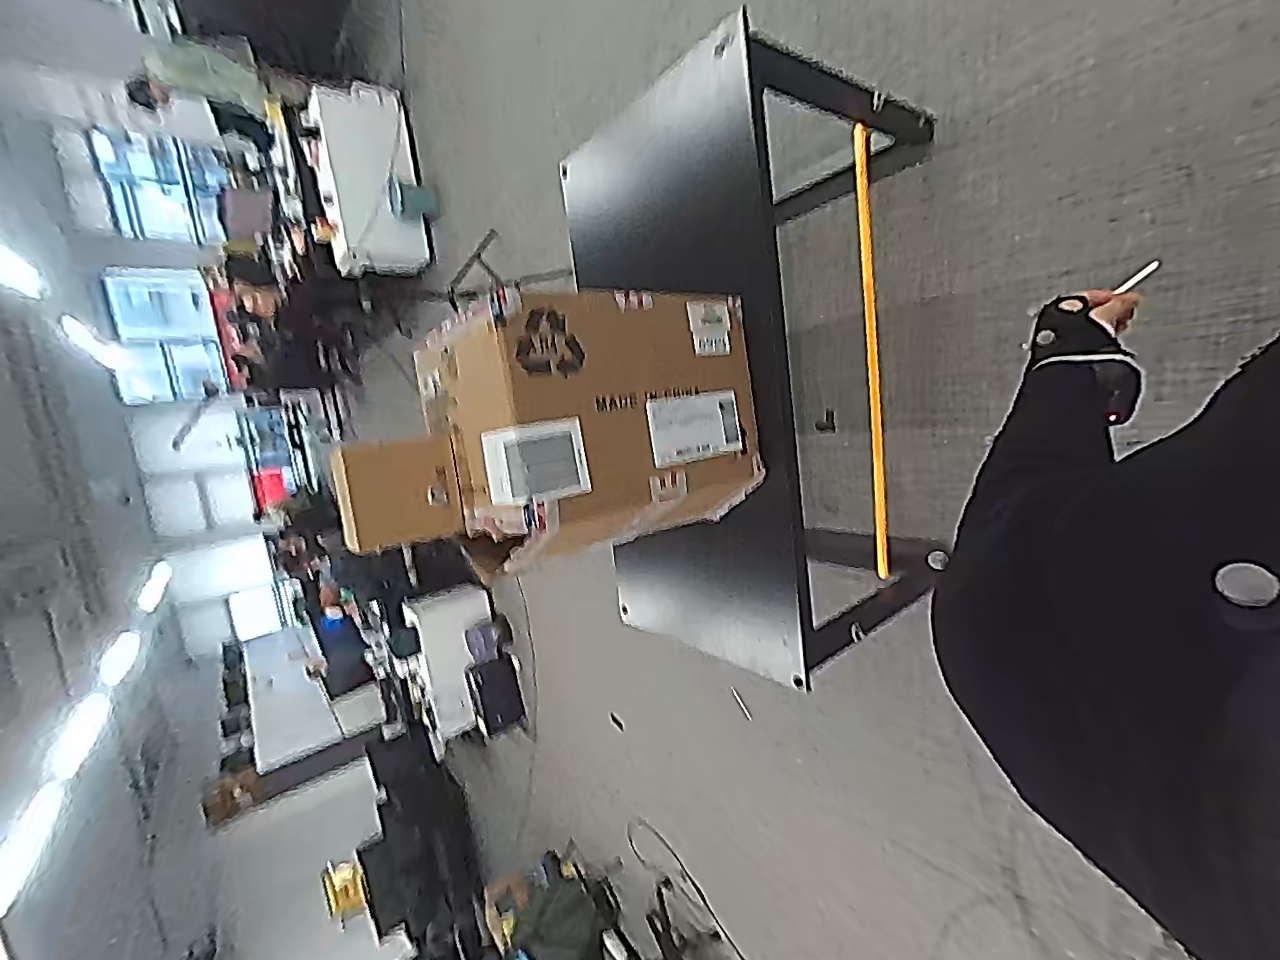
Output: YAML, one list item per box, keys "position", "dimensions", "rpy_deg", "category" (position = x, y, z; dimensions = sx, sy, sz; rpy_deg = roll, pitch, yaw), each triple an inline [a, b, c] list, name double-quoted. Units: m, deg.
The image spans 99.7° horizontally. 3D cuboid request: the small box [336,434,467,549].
- position: [-0.414, 0.018, 0.938]
  dimensions: [0.179, 0.176, 0.168]
  rpy_deg: [-6, 95, 56]
  category: "small box"
